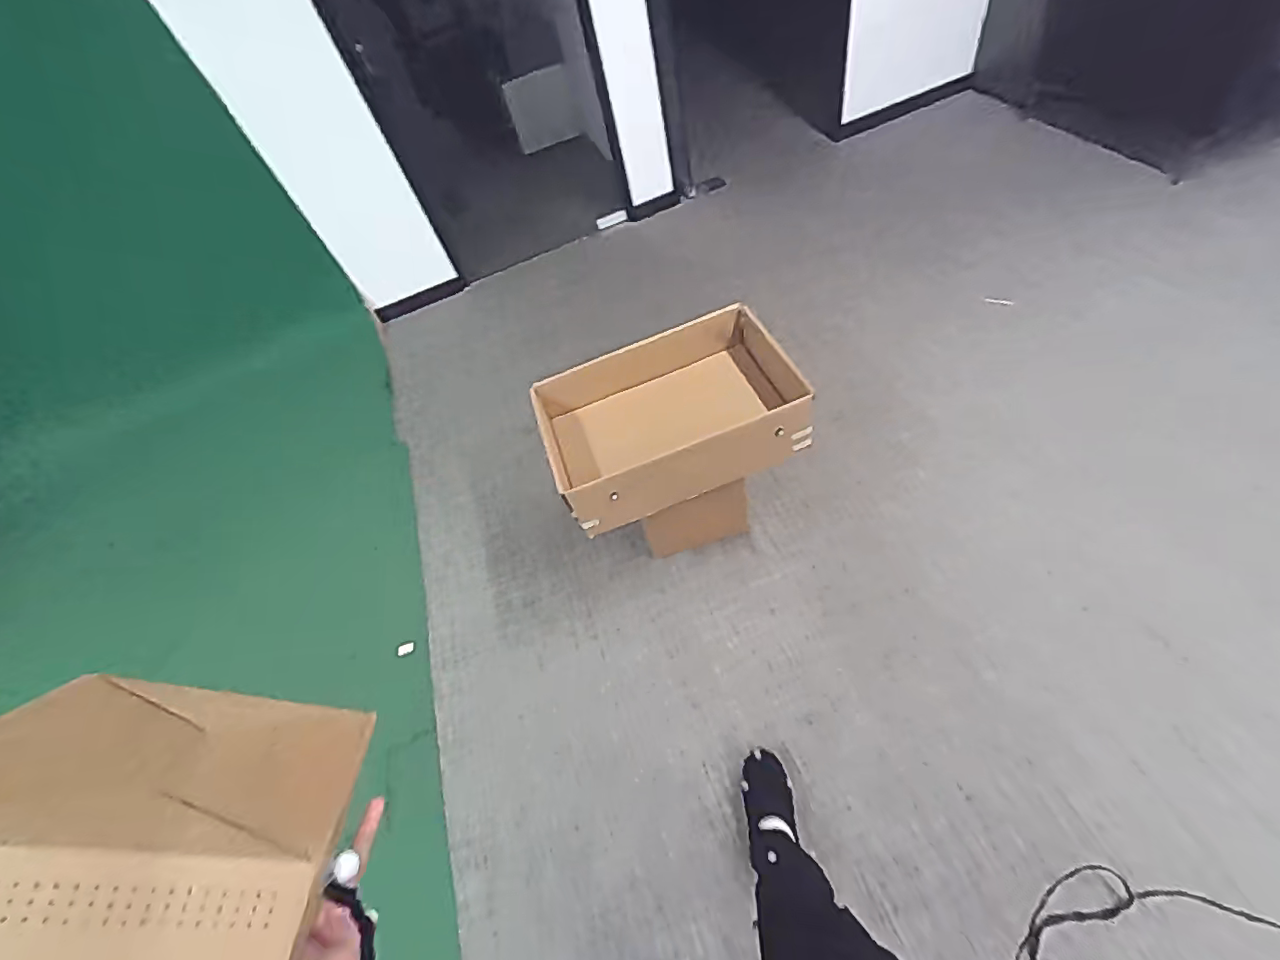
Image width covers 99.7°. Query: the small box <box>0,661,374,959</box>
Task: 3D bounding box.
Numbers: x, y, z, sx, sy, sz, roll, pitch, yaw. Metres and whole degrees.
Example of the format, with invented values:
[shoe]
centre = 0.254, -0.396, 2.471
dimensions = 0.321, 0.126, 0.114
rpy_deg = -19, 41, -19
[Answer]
[small box]
centre = -0.265, 0.207, 0.283
dimensions = 0.179, 0.168, 0.176
rpy_deg = 16, 85, -18
